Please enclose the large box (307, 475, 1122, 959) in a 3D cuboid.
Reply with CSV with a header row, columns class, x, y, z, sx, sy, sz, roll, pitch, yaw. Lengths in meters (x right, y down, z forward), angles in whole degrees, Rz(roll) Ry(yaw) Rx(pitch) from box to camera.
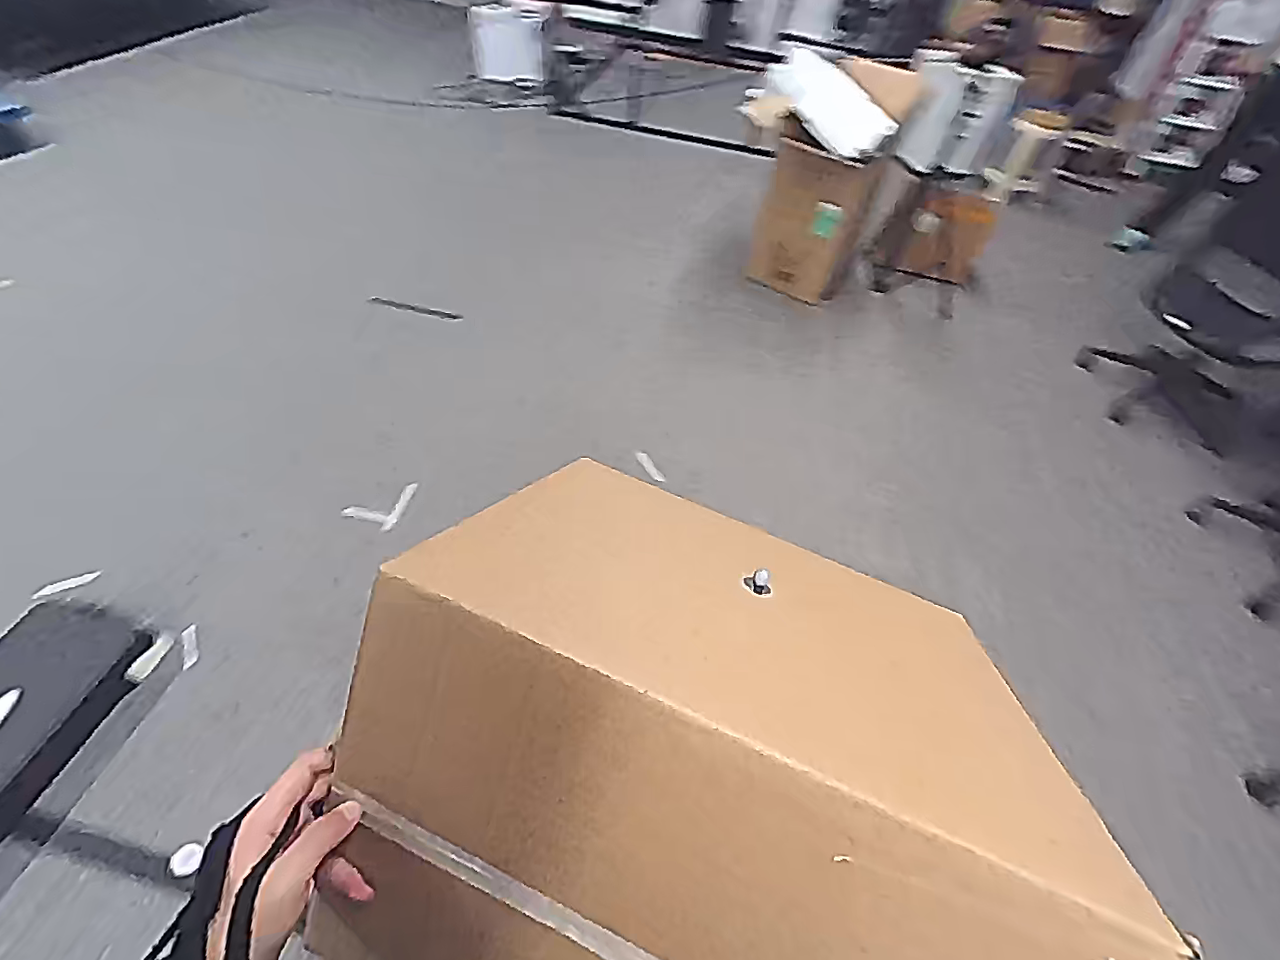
class,x,y,z,sx,sy,sz,roll,pitch,yaw
large box,0.023,0.226,0.454,0.408,0.320,0.320,21,18,8
